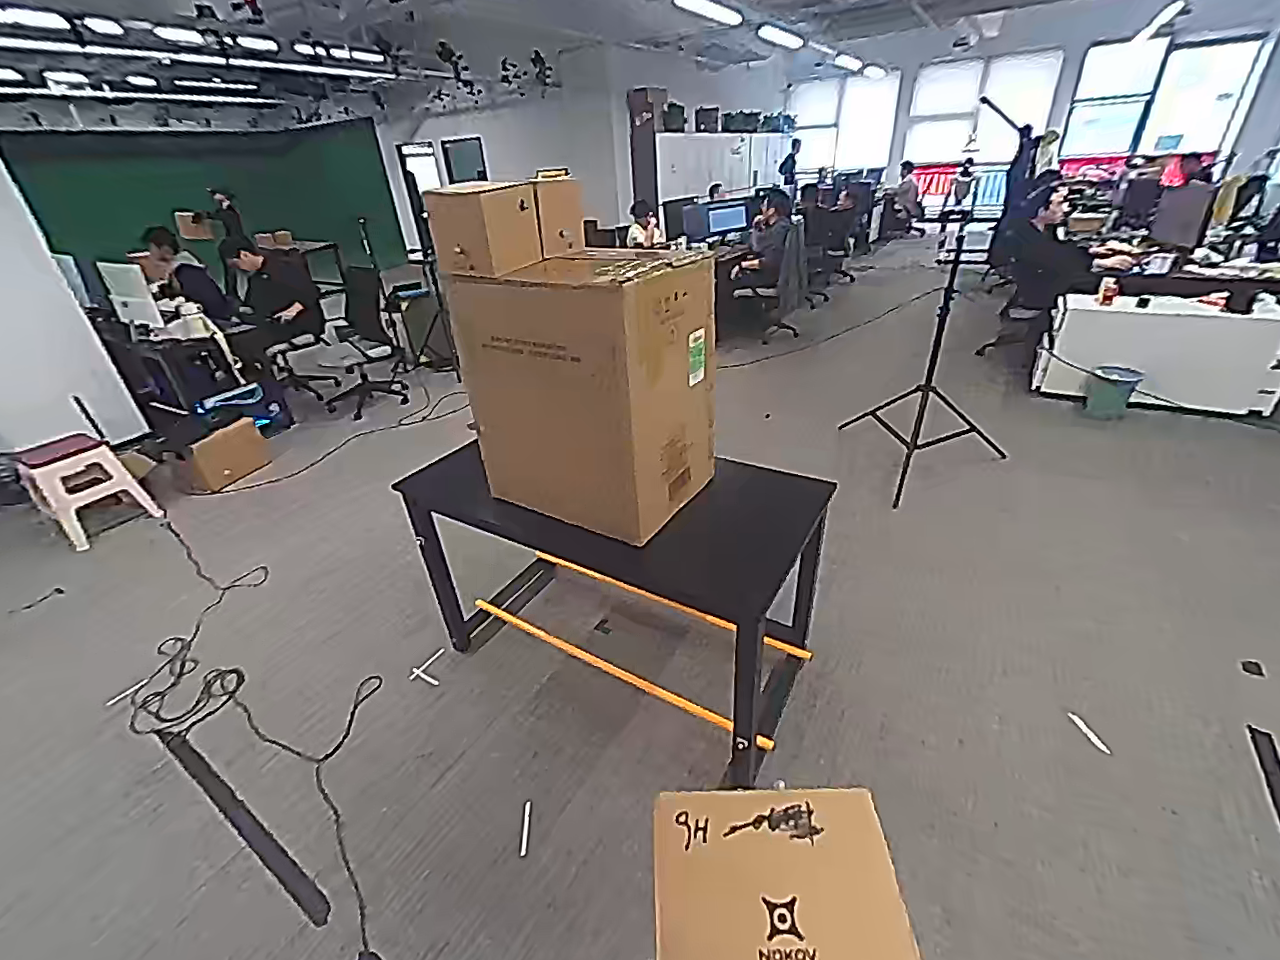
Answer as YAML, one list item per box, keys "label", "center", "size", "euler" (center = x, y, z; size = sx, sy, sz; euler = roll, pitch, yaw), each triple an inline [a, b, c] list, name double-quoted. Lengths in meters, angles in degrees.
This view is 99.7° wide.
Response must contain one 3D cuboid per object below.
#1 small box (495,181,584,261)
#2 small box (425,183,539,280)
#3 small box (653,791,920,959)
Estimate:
- label: "small box"
  center: [-0.258, -0.647, 1.349]
  size: [0.179, 0.176, 0.168]
  euler: [16, 35, 28]
- label: "small box"
  center: [-0.344, -0.561, 1.214]
  size: [0.168, 0.176, 0.179]
  euler: [14, 38, 25]
- label: "small box"
  center: [0.097, 0.354, 0.396]
  size: [0.168, 0.176, 0.179]
  euler: [-3, 41, 2]
